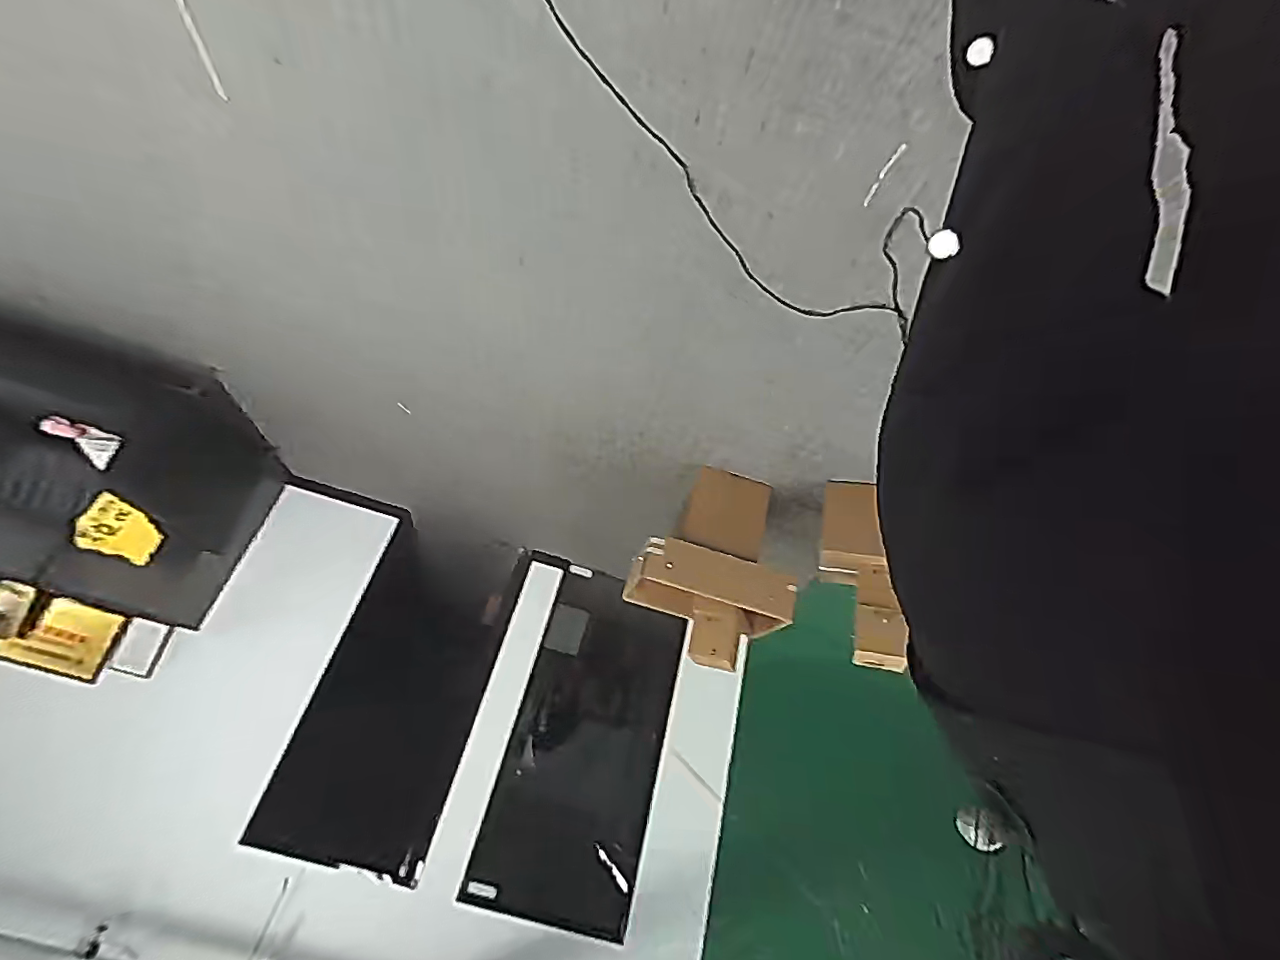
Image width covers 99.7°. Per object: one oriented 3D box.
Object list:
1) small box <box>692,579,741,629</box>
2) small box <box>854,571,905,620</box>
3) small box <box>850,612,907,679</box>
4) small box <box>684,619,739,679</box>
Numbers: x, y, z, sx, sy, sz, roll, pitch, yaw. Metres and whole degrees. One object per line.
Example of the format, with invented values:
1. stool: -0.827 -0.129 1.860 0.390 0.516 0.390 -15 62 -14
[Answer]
1. small box: 0.312 0.514 2.184 0.168 0.176 0.179 8 151 17
2. small box: 0.883 0.451 1.995 0.168 0.176 0.179 2 148 24
3. small box: 0.840 0.583 1.907 0.168 0.176 0.179 4 148 19
4. small box: 0.286 0.659 2.110 0.168 0.176 0.179 4 150 22
